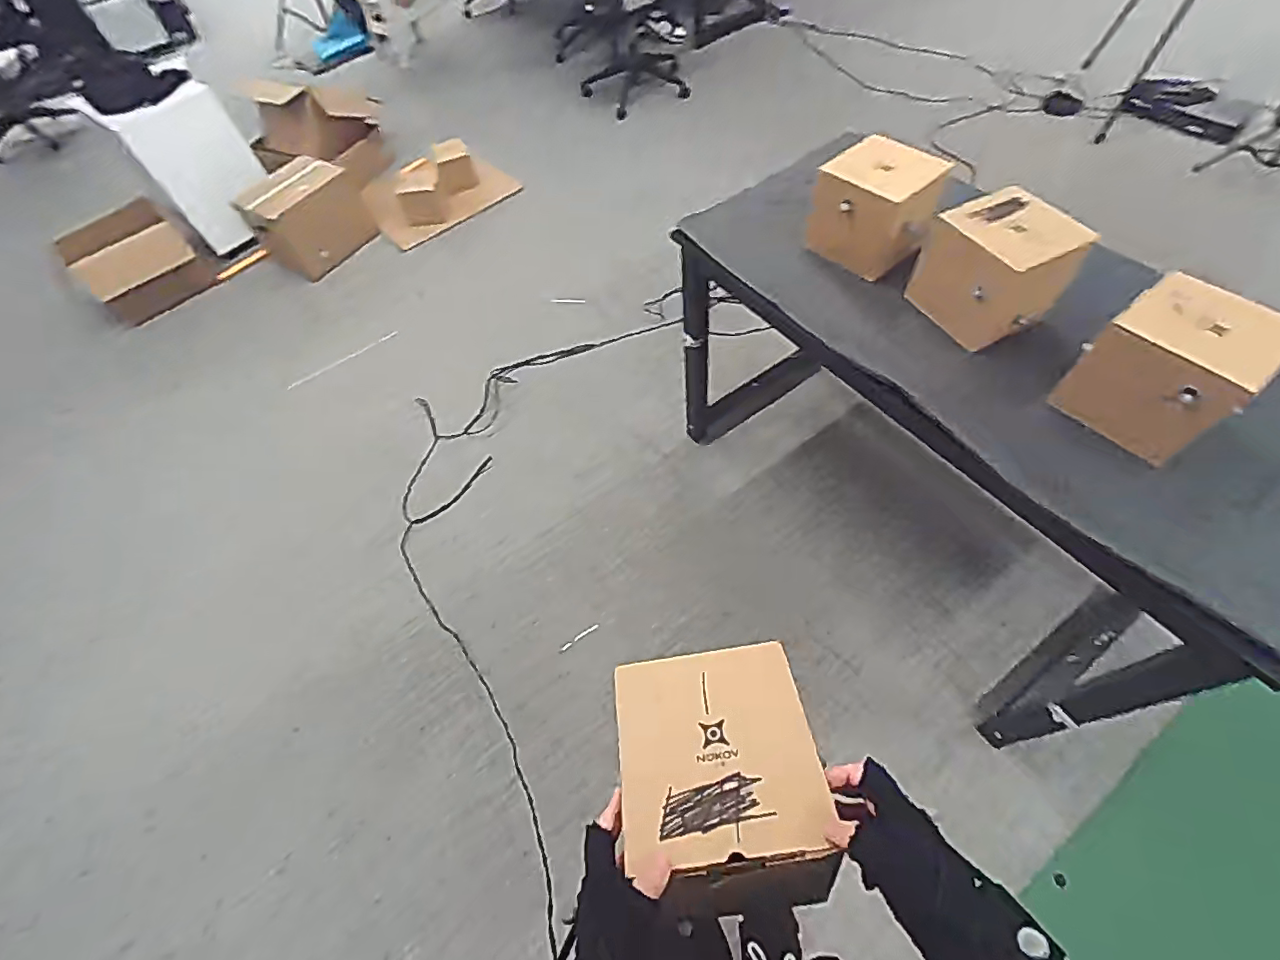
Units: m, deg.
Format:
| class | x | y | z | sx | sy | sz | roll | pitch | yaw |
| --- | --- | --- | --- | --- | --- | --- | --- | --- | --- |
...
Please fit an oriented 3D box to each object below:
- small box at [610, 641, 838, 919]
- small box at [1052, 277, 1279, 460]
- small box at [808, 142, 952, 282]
| class | x | y | z | sx | sy | sz | roll | pitch | yaw |
| --- | --- | --- | --- | --- | --- | --- | --- | --- | --- |
| small box | 0.070 | 0.283 | 0.507 | 0.168 | 0.176 | 0.179 | -10 | 40 | 1 |
| small box | 0.767 | -0.153 | 0.787 | 0.168 | 0.176 | 0.179 | -34 | 60 | -16 |
| small box | 0.460 | -0.520 | 1.063 | 0.168 | 0.176 | 0.179 | -37 | 61 | -17 |
